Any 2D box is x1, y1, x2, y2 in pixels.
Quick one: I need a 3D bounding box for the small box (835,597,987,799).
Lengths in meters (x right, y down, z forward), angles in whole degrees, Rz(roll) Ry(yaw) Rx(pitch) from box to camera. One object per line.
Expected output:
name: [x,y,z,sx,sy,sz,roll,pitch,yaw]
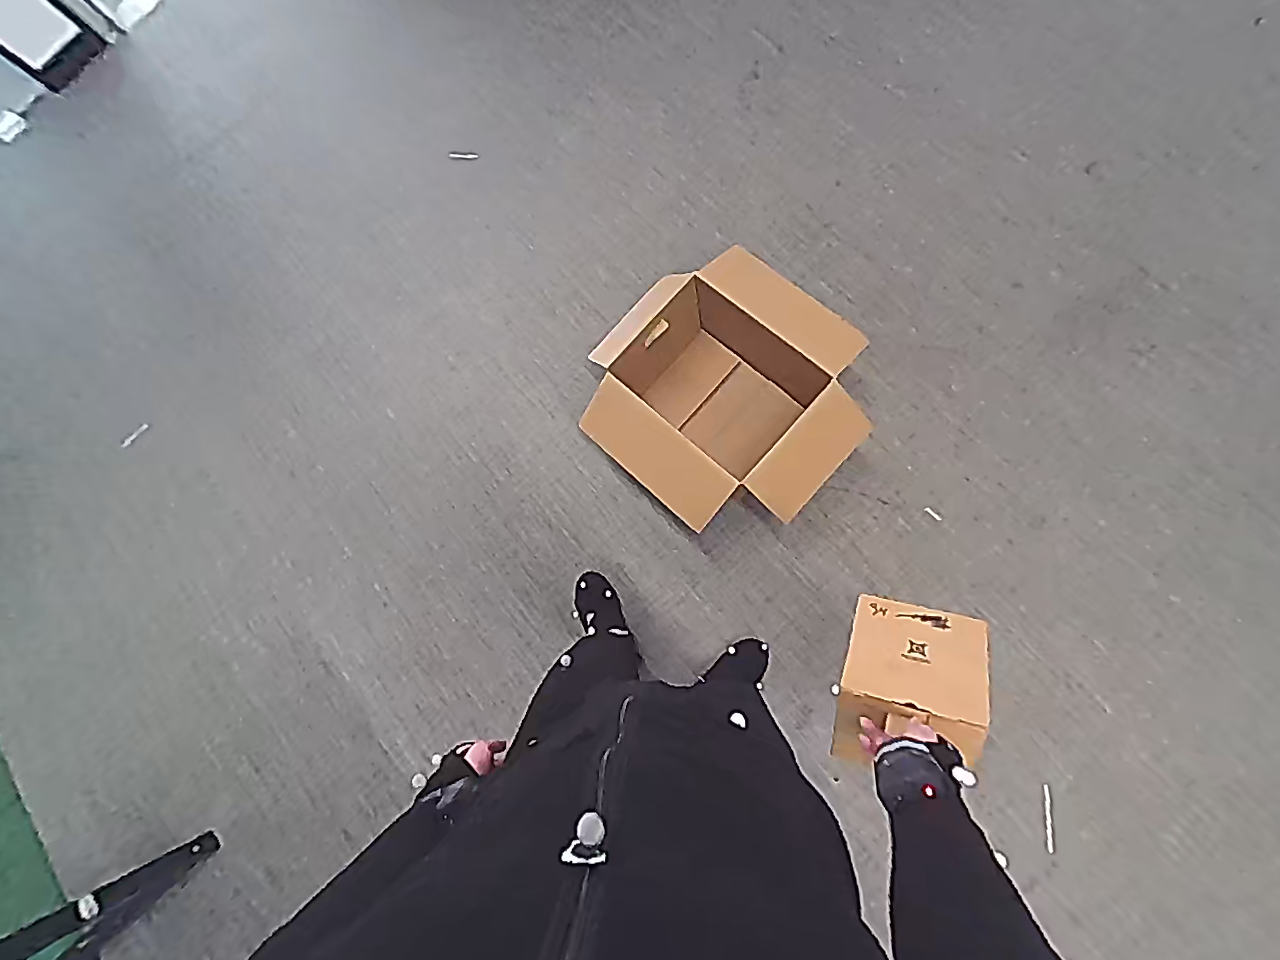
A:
small box: [0.372,0.298,0.752,0.168,0.179,0.176,10,126,26]
